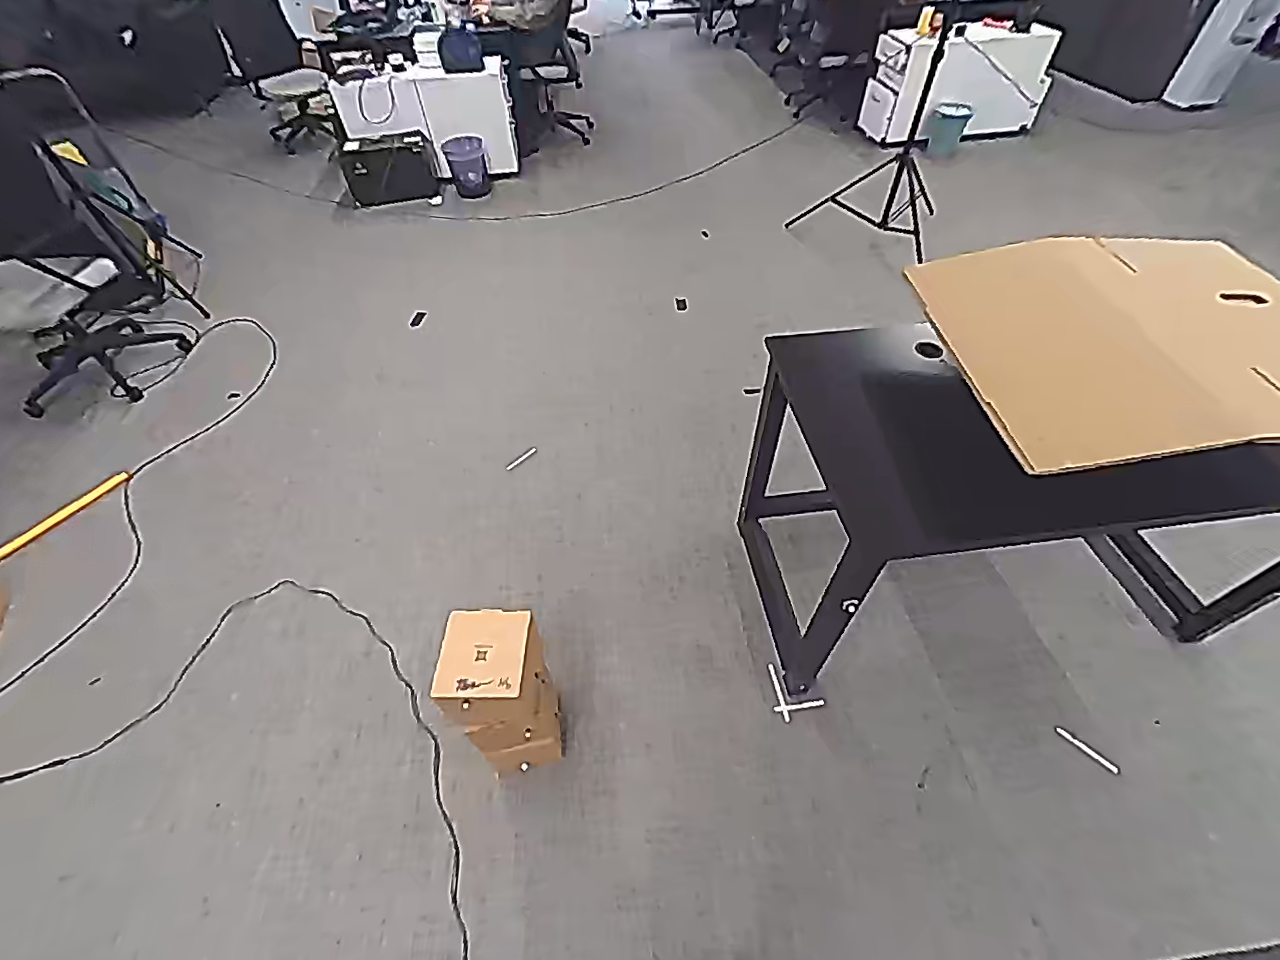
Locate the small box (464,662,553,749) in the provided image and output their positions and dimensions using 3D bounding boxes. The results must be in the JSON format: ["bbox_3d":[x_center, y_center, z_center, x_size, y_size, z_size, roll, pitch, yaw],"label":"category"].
[{"bbox_3d":[-0.300,0.493,1.233,0.168,0.176,0.179,-11,49,-9],"label":"small box"}]

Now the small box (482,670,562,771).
[{"bbox_3d":[-0.292,0.603,1.353,0.168,0.176,0.179,-9,51,-6],"label":"small box"}]

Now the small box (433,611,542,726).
[{"bbox_3d":[-0.301,0.386,1.109,0.168,0.176,0.179,-1,48,1],"label":"small box"}]
